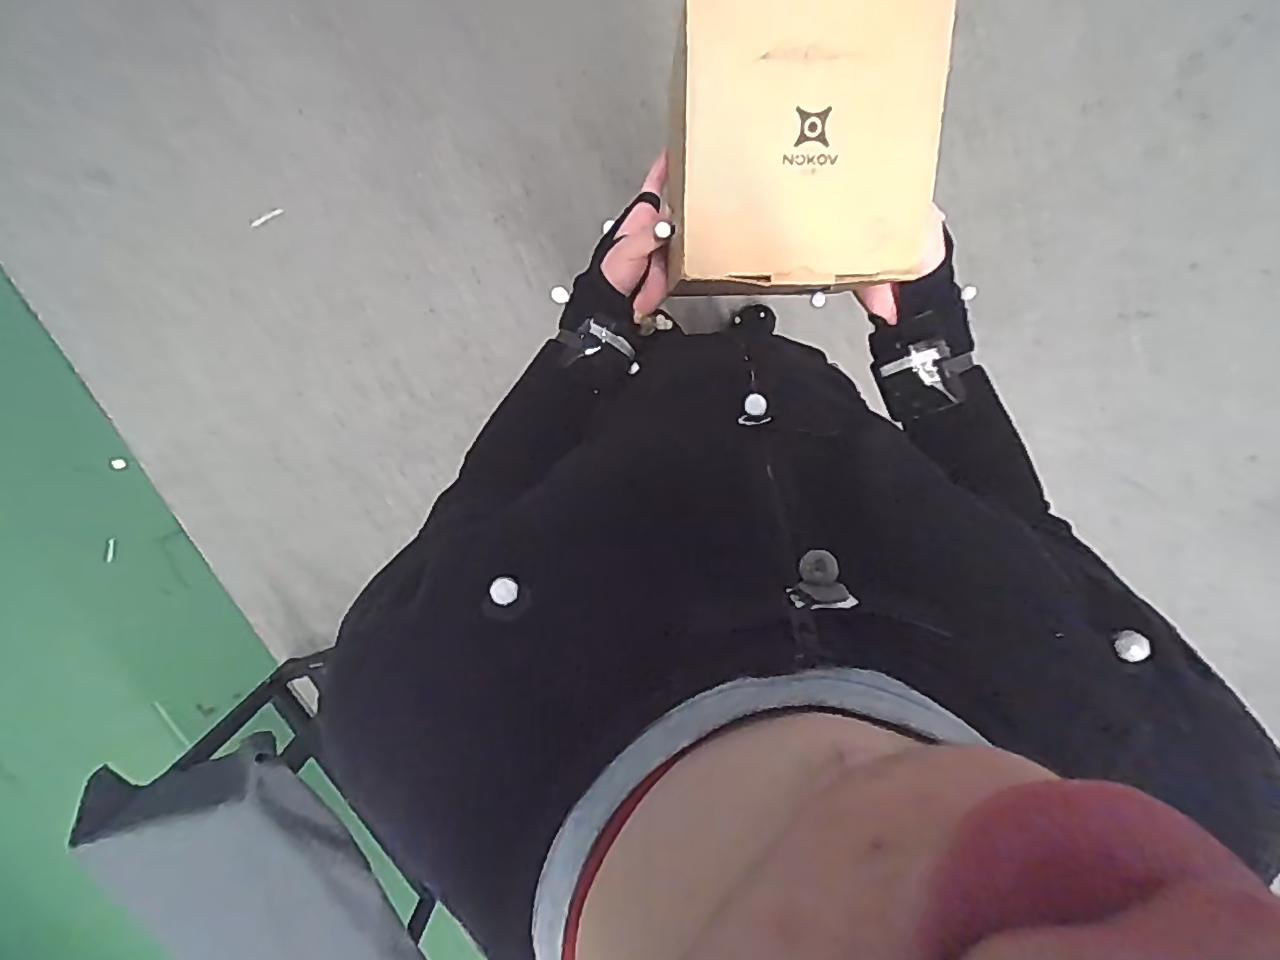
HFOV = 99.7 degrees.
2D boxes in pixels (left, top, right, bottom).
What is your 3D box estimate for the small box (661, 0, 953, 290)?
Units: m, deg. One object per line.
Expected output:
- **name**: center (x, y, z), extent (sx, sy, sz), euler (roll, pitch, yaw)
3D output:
- **small box**: center (0.105, -0.243, 0.420), extent (0.168, 0.176, 0.179), euler (-1, 105, -2)
